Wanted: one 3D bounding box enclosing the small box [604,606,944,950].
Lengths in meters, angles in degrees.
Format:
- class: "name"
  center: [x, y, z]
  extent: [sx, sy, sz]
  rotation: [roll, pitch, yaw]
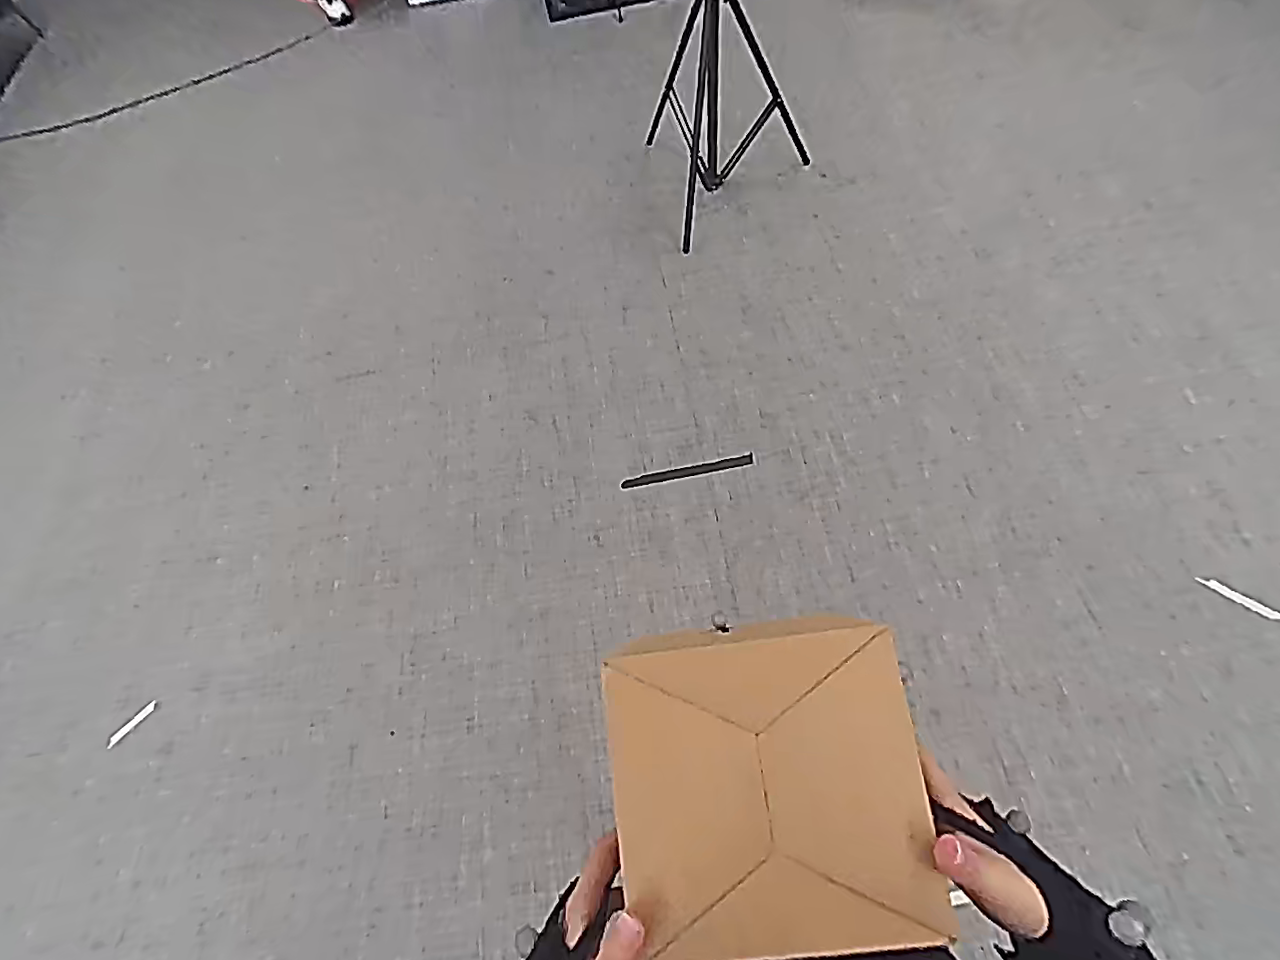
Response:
- class: "small box"
  center: [0.081, 0.187, 0.385]
  extent: [0.179, 0.176, 0.168]
  rotation: [-8, 77, 3]
